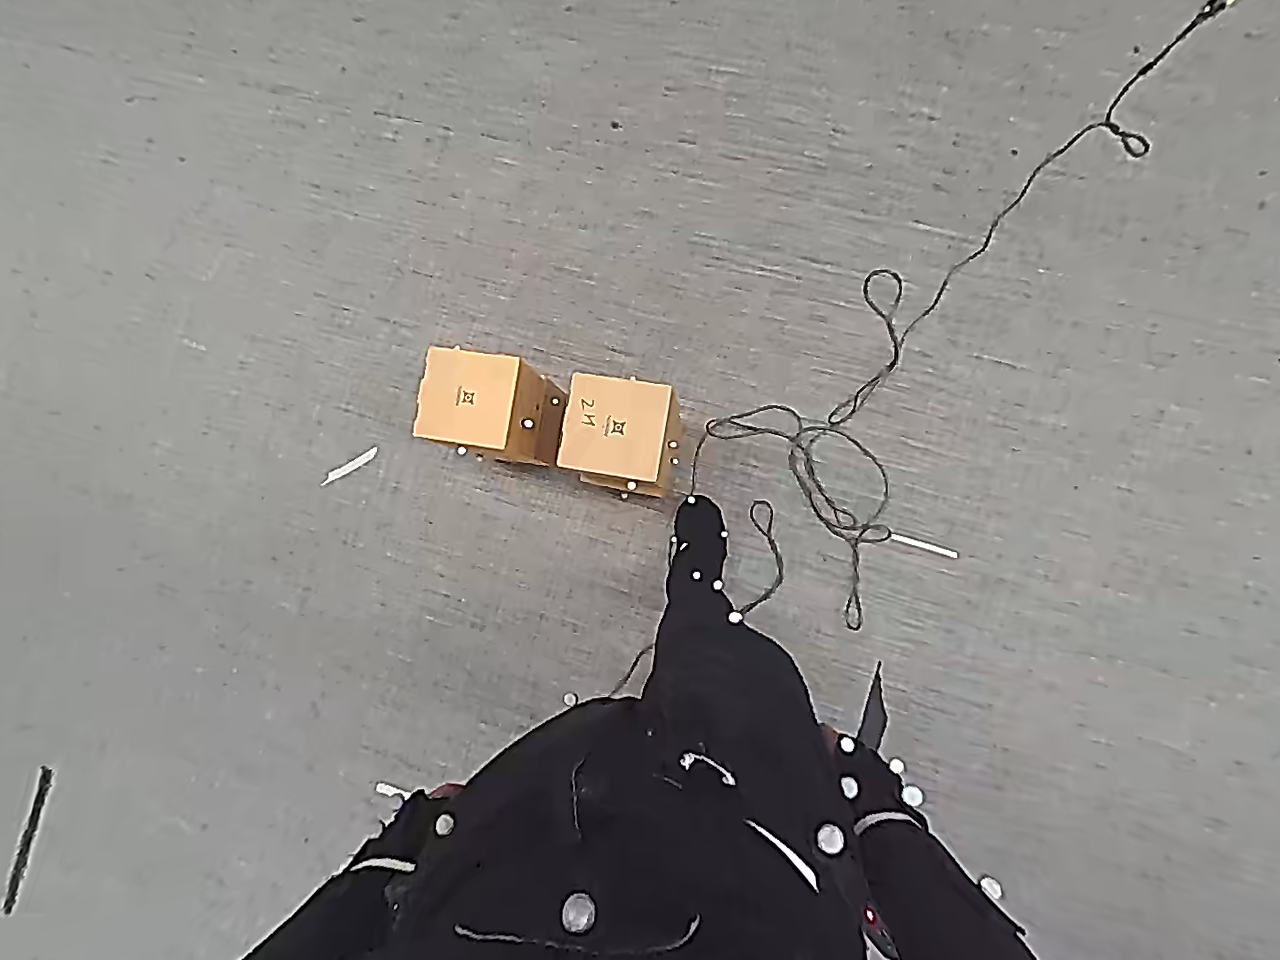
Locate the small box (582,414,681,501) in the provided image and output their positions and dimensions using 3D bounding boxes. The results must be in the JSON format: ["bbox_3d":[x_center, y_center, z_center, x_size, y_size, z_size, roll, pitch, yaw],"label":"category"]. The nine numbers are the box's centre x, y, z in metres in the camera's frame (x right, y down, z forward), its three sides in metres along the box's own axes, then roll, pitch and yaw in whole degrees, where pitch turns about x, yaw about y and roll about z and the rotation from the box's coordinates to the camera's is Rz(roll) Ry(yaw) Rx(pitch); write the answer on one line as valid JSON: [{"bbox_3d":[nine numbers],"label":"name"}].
[{"bbox_3d":[-0.010,-0.058,1.140,0.168,0.176,0.179,11,88,9],"label":"small box"}]

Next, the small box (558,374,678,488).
[{"bbox_3d":[-0.030,-0.080,0.977,0.179,0.176,0.168,10,87,9],"label":"small box"}]

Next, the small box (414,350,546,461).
[{"bbox_3d":[-0.291,-0.132,1.018,0.179,0.176,0.168,8,87,8],"label":"small box"}]
